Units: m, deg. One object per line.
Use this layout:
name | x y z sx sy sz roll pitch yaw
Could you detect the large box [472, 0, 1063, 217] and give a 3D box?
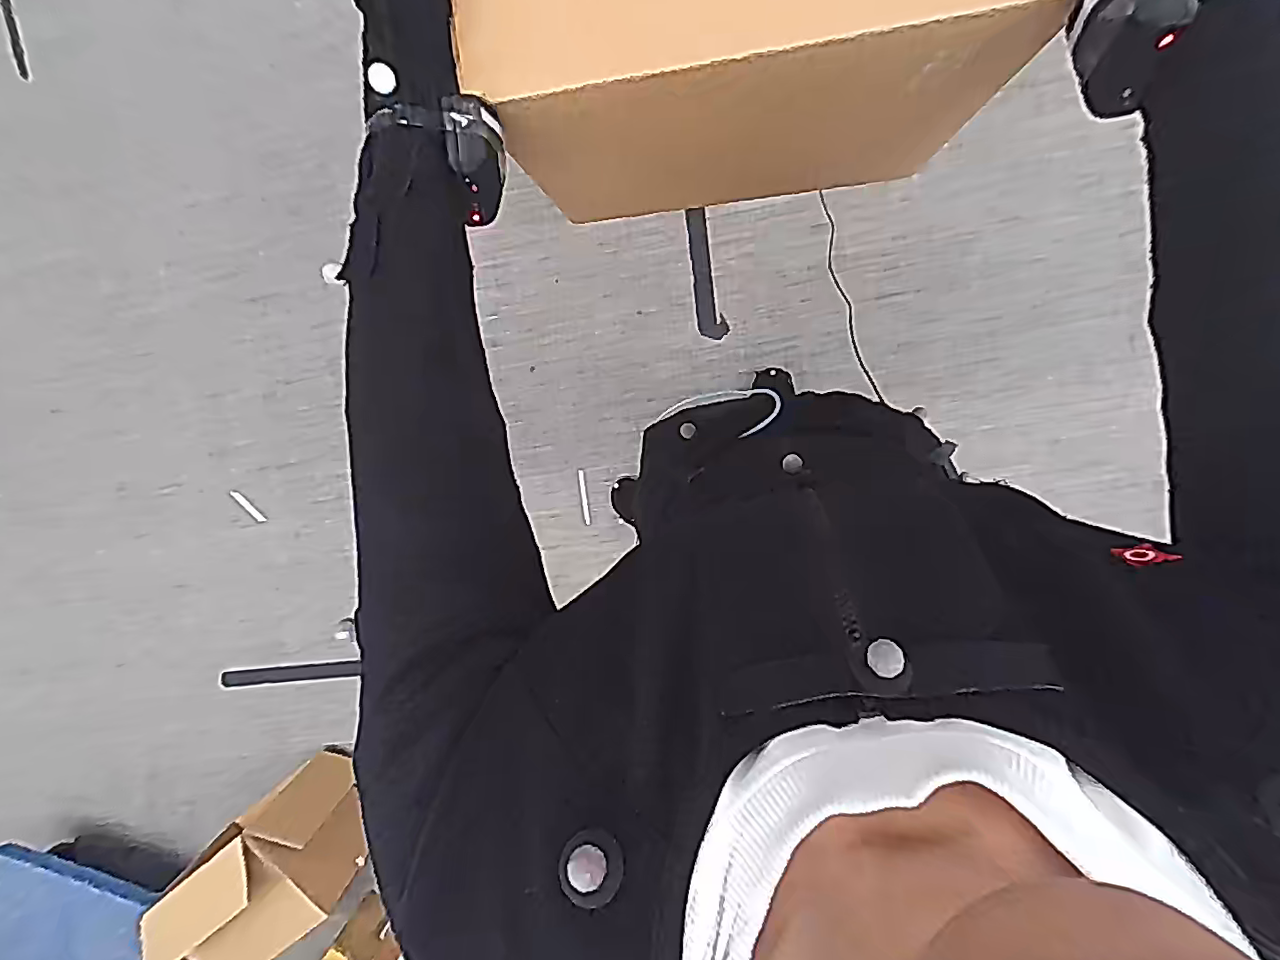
large box | 0.083 -0.464 0.474 0.408 0.320 0.320 -5 101 7
